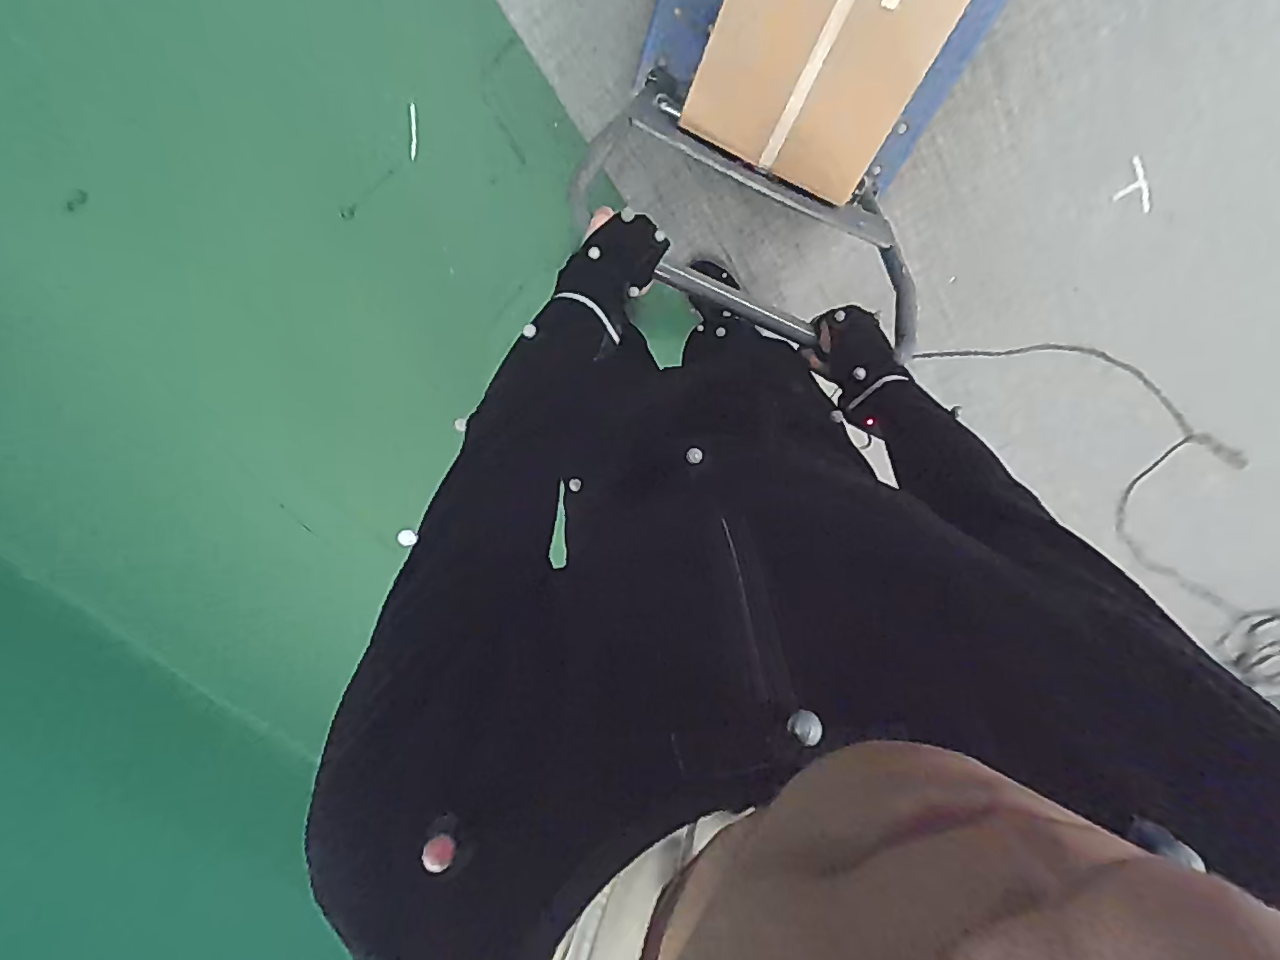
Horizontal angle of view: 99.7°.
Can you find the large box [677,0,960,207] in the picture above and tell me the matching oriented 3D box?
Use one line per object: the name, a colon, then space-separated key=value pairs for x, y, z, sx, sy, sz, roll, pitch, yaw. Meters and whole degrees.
large box: x=0.294 y=-0.753 z=0.909 sx=0.320 sy=0.320 sz=0.408 roll=23 pitch=130 yaw=-8
